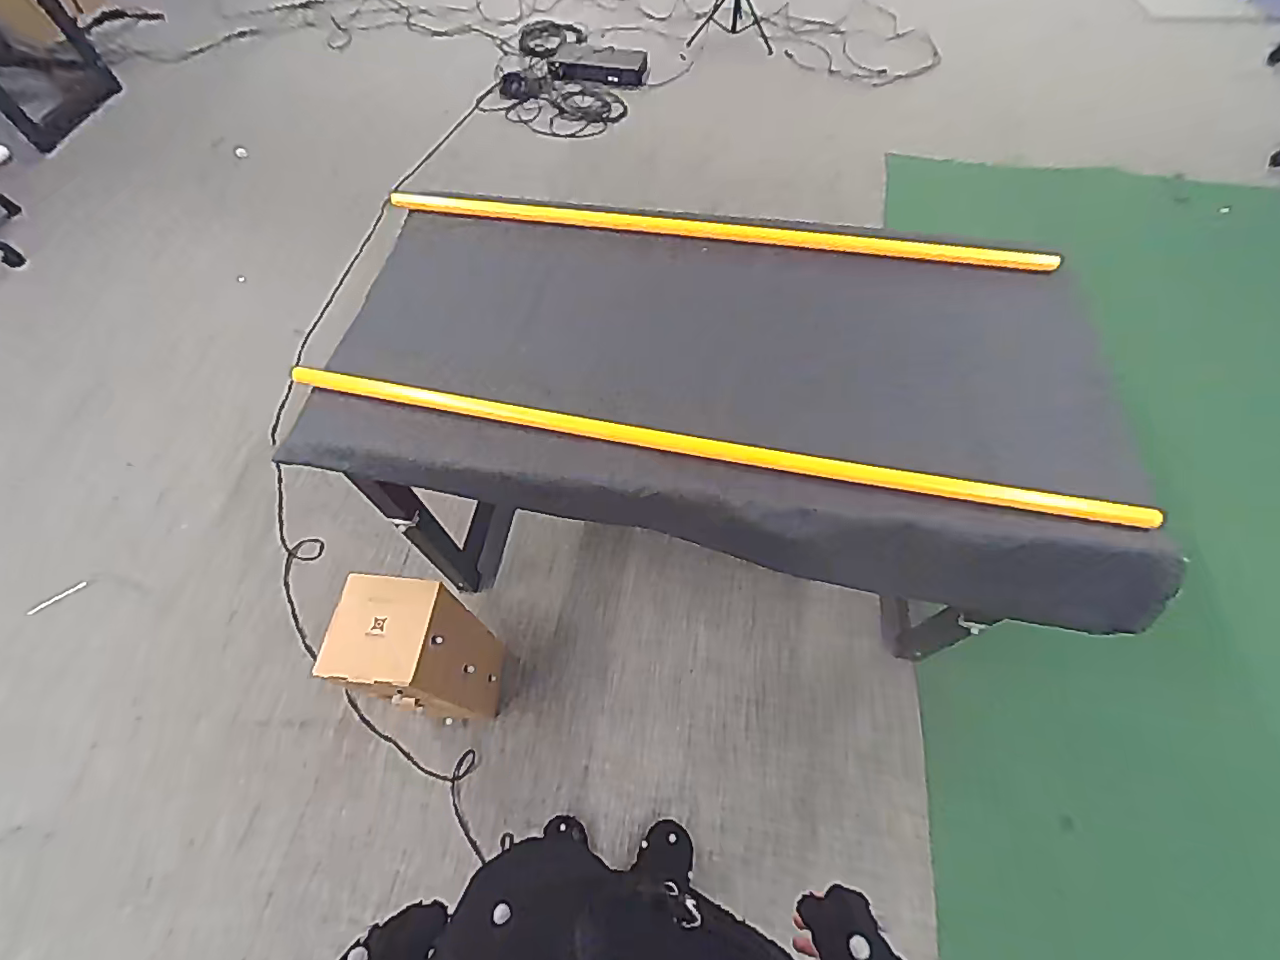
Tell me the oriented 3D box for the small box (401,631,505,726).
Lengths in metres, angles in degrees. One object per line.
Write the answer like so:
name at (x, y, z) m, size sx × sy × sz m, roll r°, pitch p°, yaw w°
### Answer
small box at (-0.419, 0.459, 1.246) m, size 0.168 × 0.176 × 0.179 m, roll 1°, pitch 60°, yaw 2°
